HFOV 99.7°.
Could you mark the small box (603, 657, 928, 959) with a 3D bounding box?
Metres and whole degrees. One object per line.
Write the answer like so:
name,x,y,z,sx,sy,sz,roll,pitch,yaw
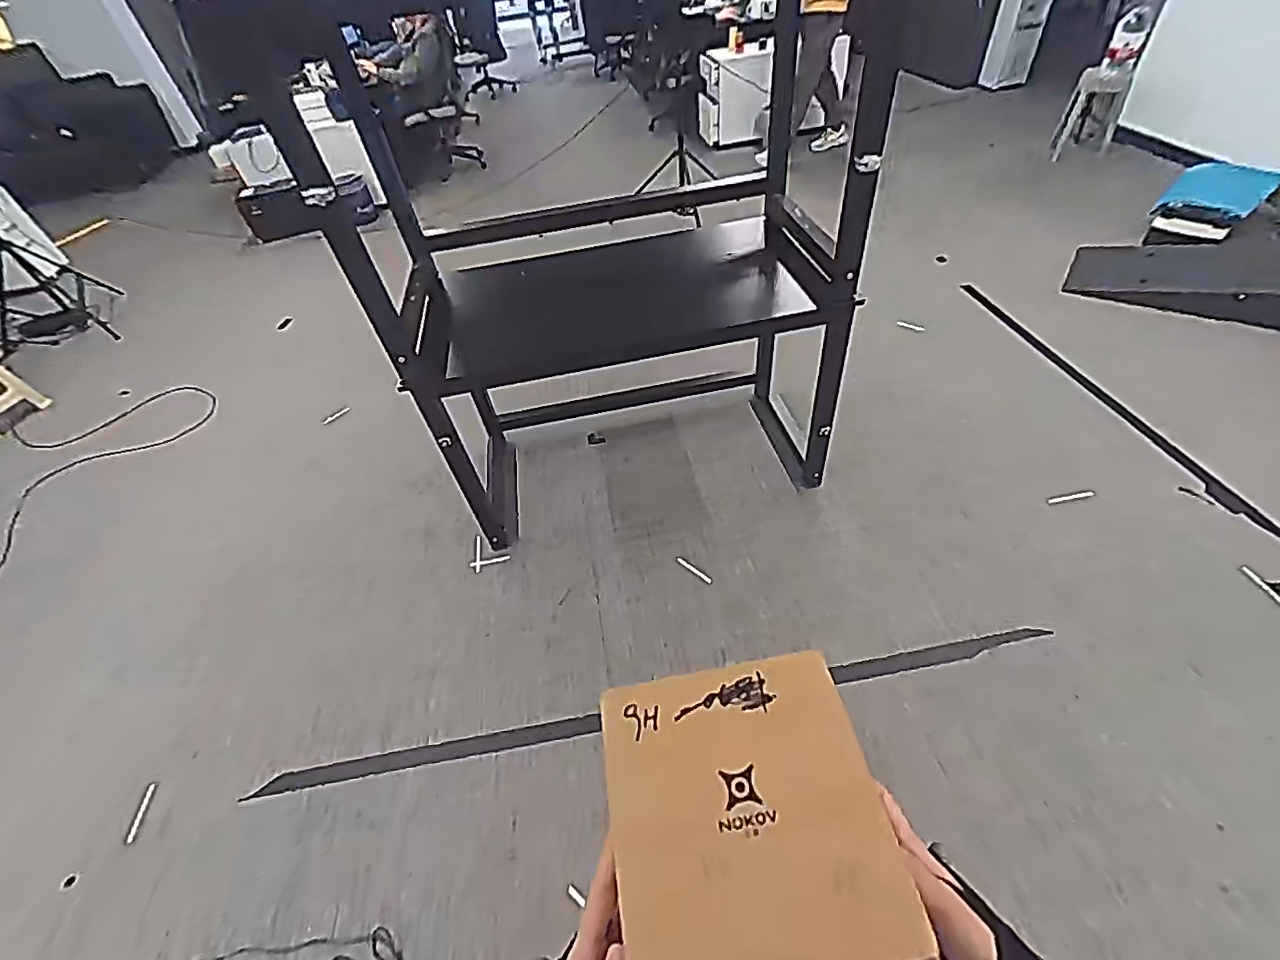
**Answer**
small box,0.071,0.258,0.398,0.168,0.176,0.179,-9,47,-2
